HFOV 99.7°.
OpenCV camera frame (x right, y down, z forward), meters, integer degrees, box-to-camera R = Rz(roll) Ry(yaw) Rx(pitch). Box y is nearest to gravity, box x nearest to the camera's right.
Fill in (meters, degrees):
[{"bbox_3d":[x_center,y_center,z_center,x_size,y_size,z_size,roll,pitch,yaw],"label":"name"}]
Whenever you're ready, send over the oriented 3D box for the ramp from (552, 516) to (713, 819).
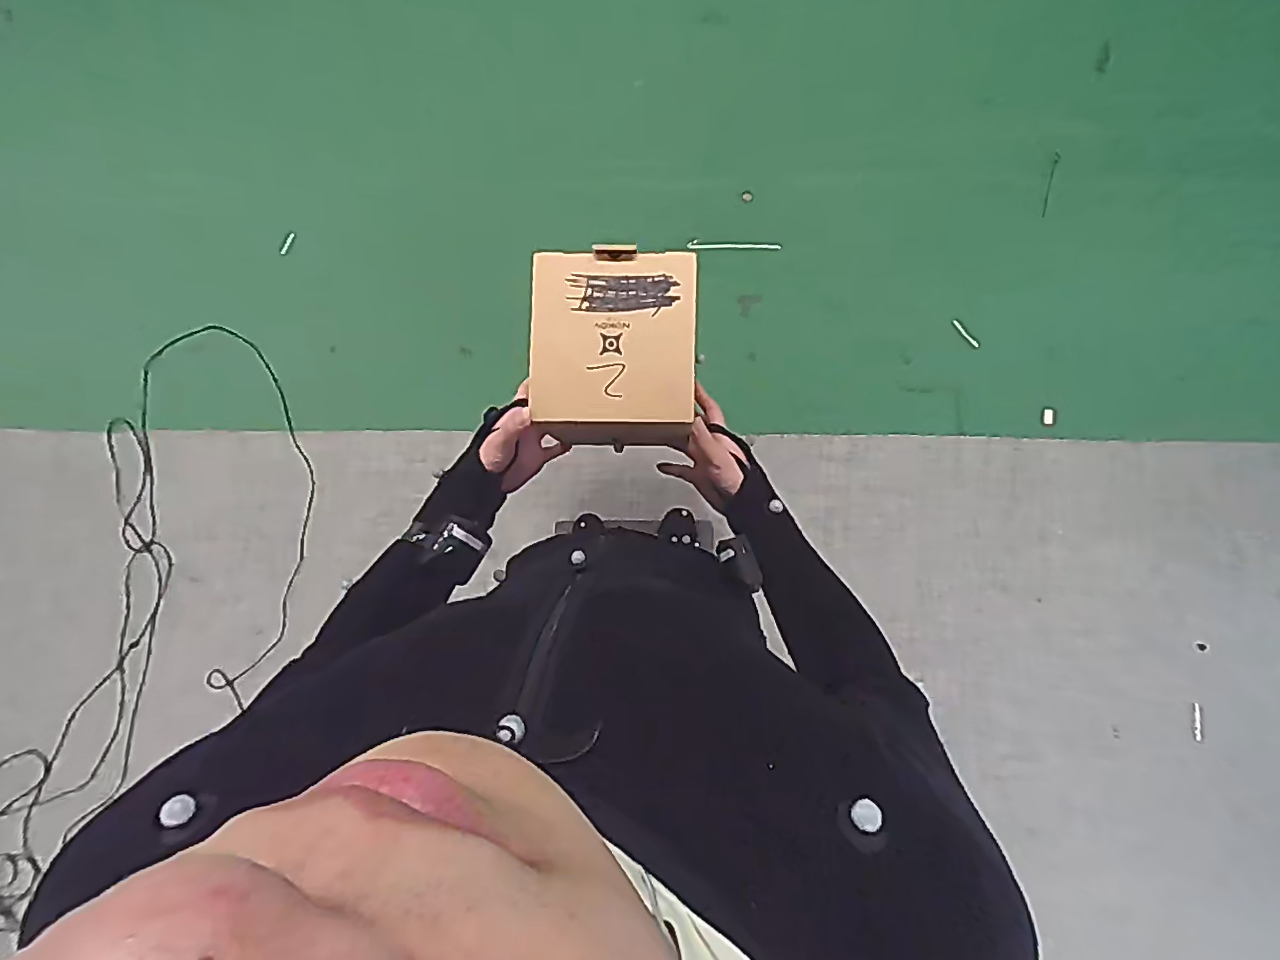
[{"bbox_3d":[-0.017,0.603,1.697,0.509,0.206,0.991,-2,87,3],"label":"ramp"}]
